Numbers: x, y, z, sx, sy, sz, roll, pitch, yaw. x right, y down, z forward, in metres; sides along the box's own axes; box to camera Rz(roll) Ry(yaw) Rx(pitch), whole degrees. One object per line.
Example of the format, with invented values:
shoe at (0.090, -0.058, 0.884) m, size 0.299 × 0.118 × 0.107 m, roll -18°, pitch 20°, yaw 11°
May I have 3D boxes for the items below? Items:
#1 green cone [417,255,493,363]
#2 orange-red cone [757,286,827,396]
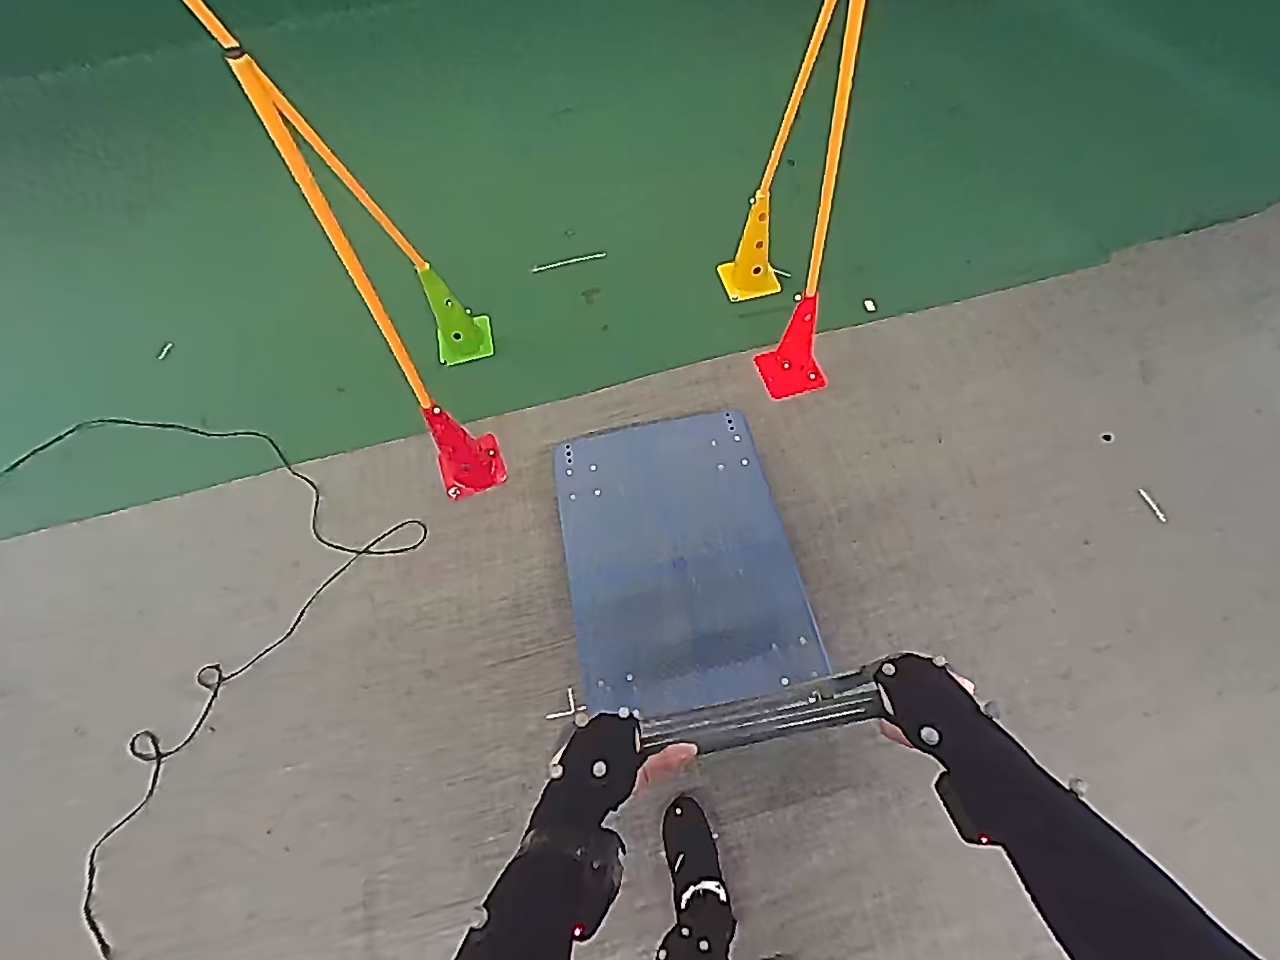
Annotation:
green cone at (-0.664, -0.609, 1.858) m, size 0.200 × 0.368 × 0.202 m, roll -15°, pitch 62°, yaw -2°
orange-red cone at (0.504, -0.457, 1.690) m, size 0.198 × 0.360 × 0.199 m, roll -14°, pitch 61°, yaw -3°
